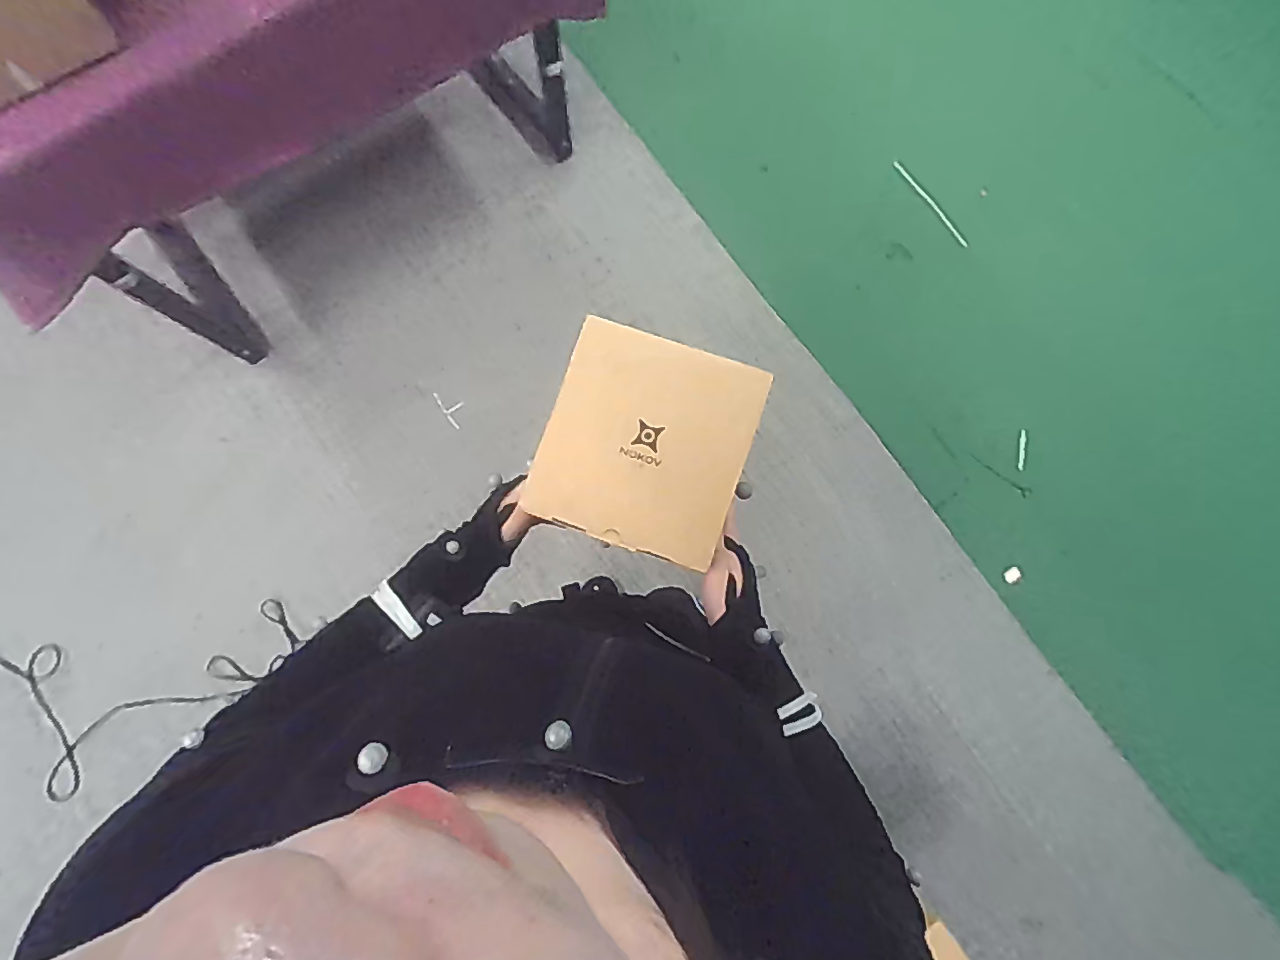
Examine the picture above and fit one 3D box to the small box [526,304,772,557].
[{"bbox_3d":[0.009,-0.038,0.529,0.168,0.176,0.179,19,87,3],"label":"small box"}]
